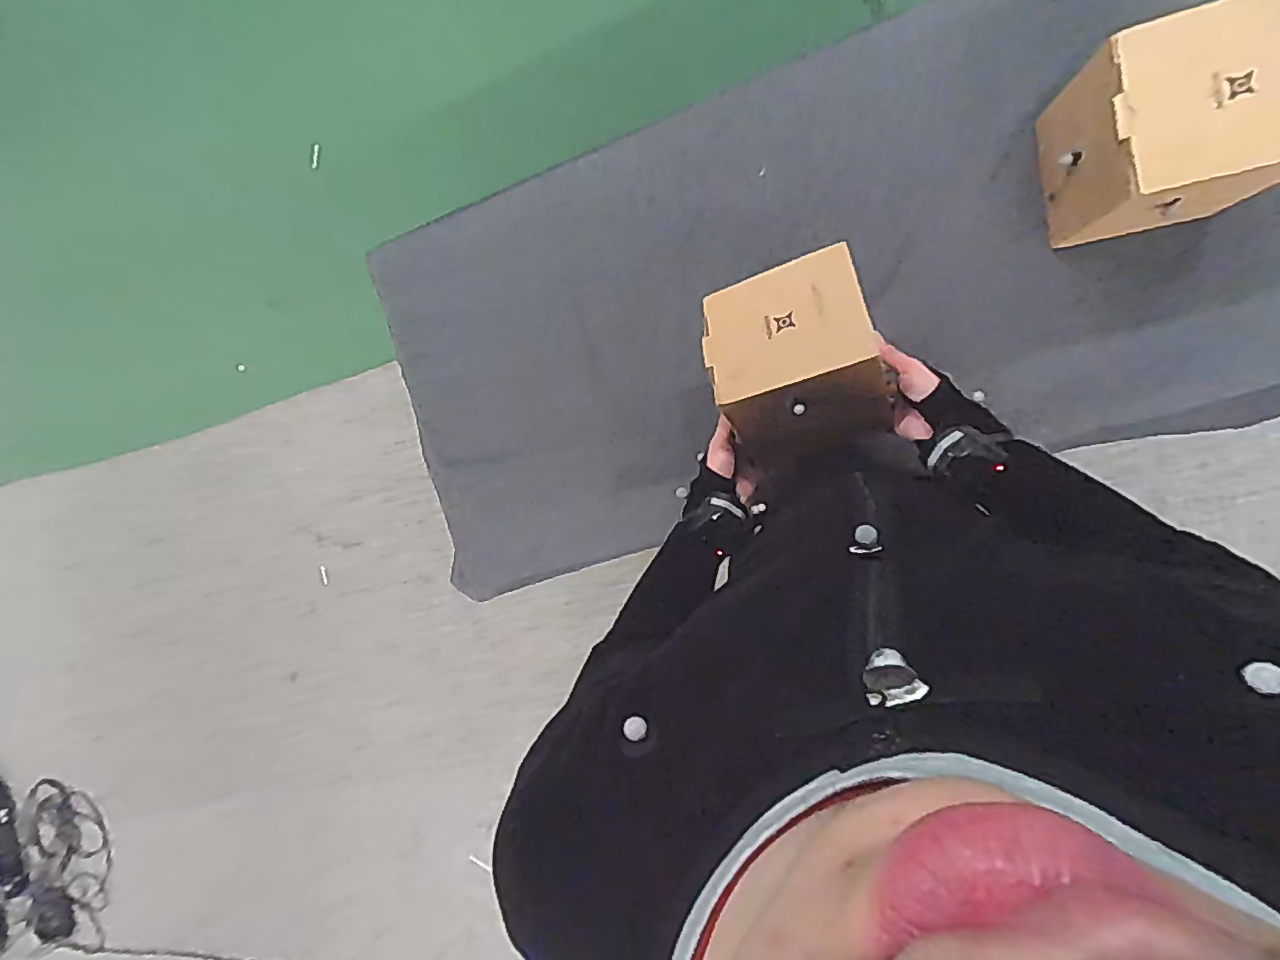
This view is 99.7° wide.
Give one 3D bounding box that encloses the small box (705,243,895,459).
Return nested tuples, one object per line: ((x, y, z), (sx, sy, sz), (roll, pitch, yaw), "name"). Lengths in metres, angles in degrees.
((0.198, -0.144, 0.668), (0.179, 0.176, 0.168), (-16, 62, 23), "small box")

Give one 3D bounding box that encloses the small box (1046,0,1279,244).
((0.586, -0.385, 0.600), (0.179, 0.176, 0.168), (-8, 94, 14), "small box")
